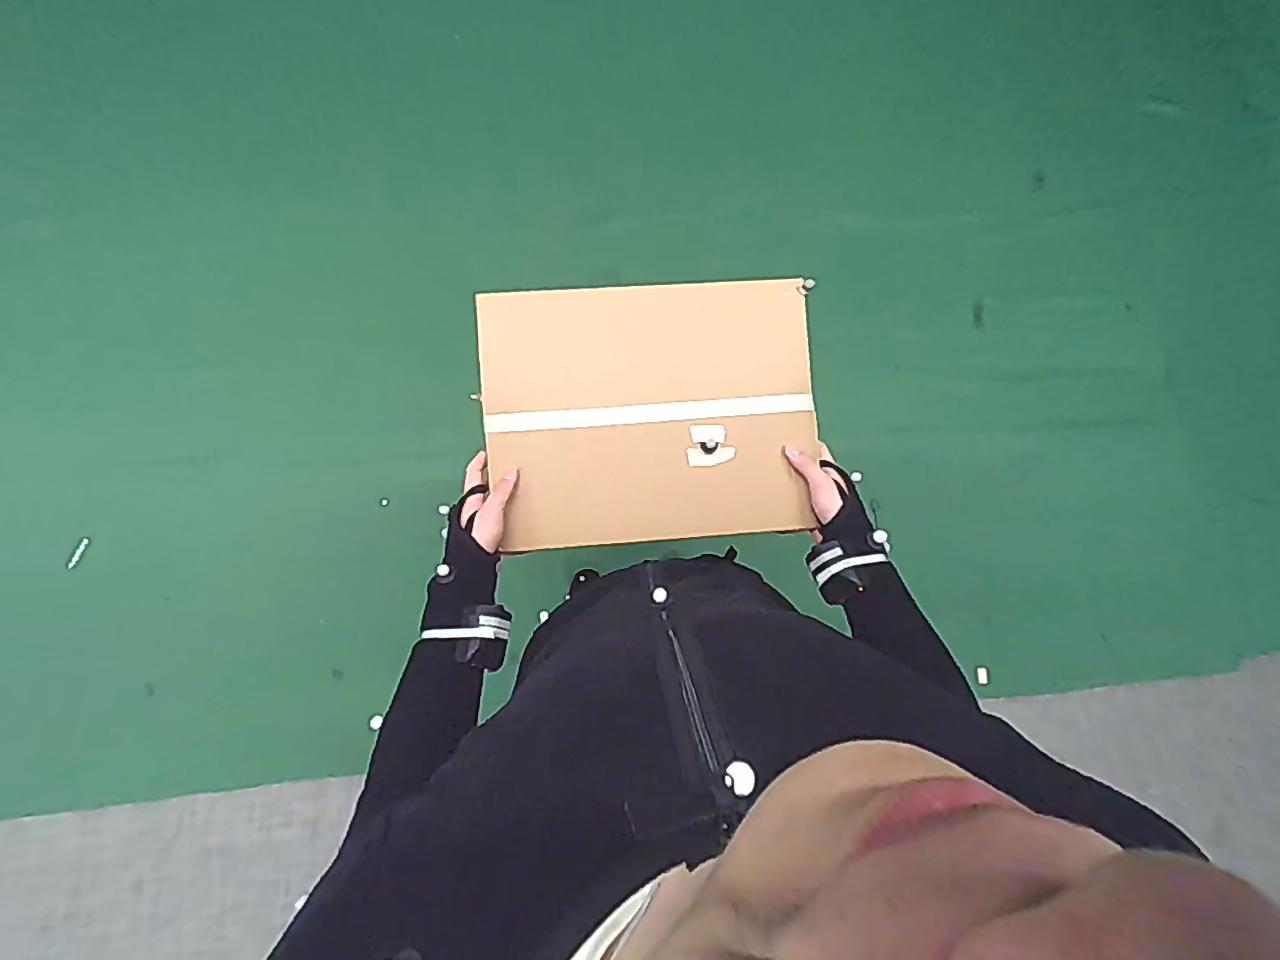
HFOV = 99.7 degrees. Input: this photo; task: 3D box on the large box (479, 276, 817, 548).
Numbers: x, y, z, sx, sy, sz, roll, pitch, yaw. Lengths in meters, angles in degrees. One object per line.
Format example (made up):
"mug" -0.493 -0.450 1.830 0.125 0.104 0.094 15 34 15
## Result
"large box" 0.002 -0.086 0.817 0.408 0.320 0.320 -5 91 -4
